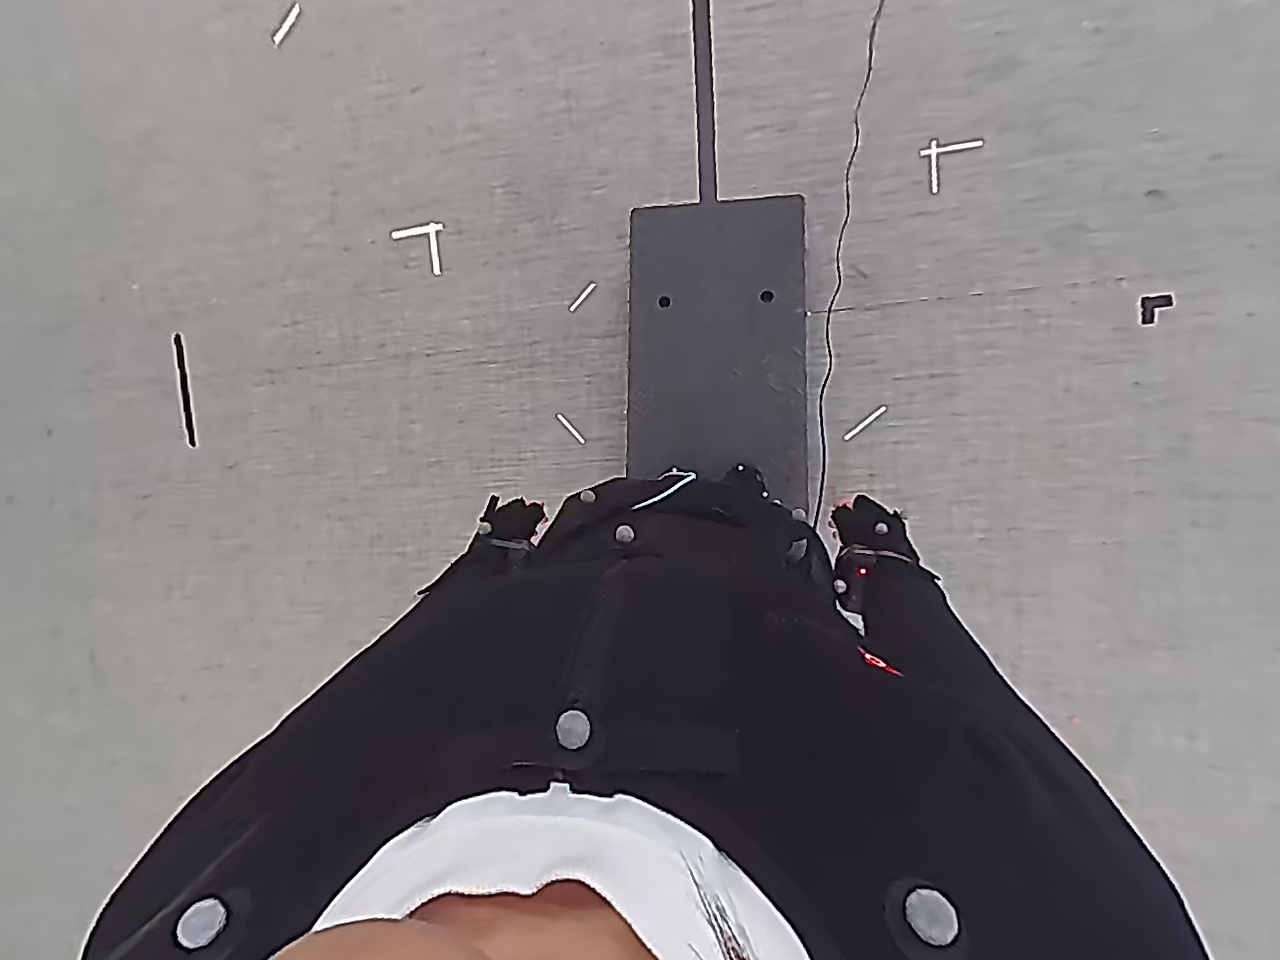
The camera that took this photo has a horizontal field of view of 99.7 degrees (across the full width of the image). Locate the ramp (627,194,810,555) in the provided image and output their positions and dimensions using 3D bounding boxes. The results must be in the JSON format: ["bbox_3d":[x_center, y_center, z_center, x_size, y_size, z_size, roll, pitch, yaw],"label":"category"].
[{"bbox_3d":[0.206,-0.298,1.494,0.509,0.206,0.991,-2,94,11],"label":"ramp"}]
